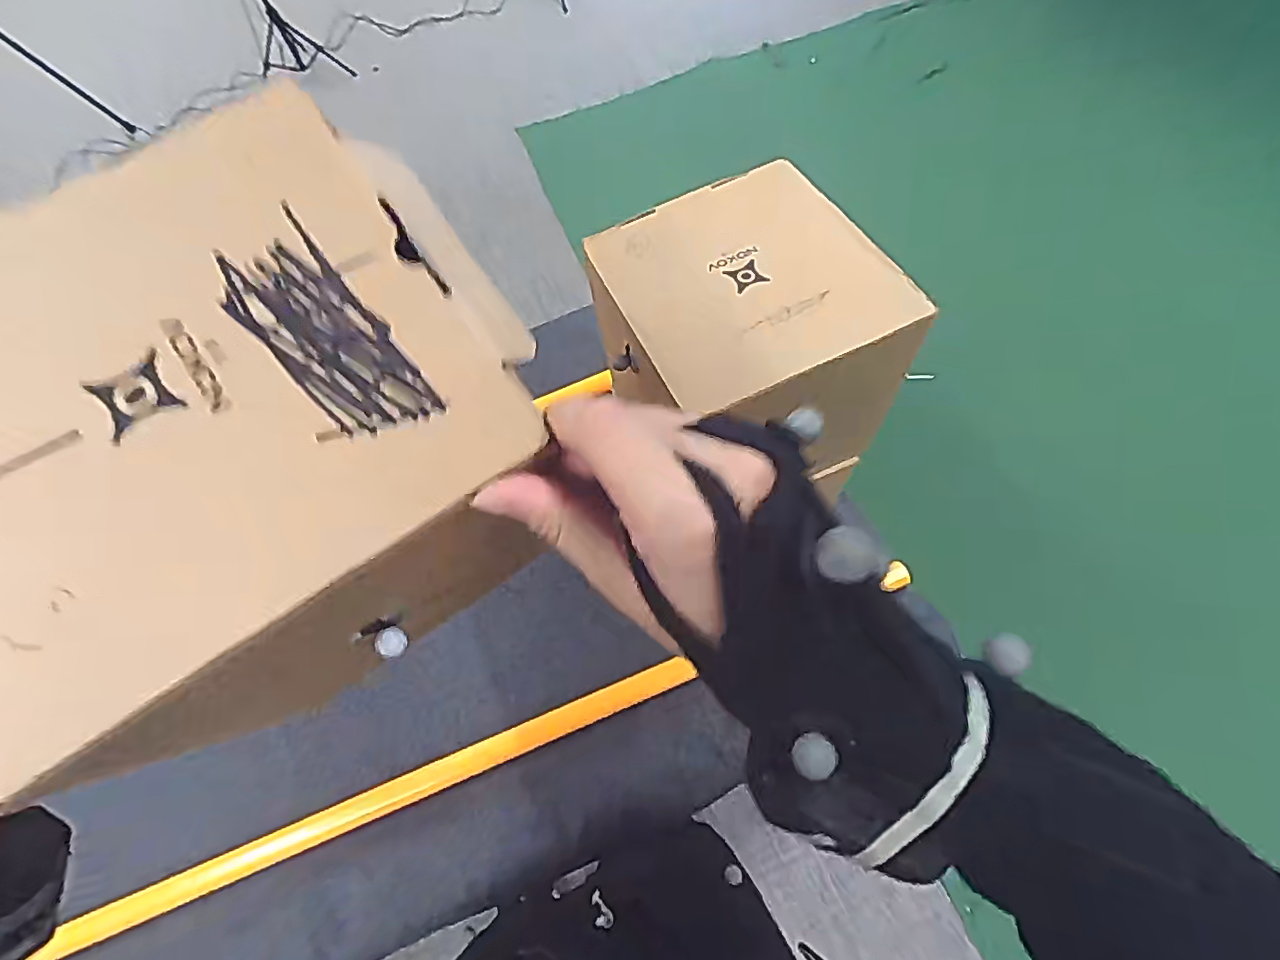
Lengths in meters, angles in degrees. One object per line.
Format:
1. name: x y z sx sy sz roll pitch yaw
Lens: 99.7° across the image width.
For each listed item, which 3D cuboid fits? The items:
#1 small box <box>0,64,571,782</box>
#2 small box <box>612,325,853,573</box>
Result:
1. small box: -0.145 -0.017 0.239 0.179 0.176 0.168 -35 81 -11
2. small box: 0.087 -0.019 0.564 0.168 0.176 0.179 -23 63 -6
